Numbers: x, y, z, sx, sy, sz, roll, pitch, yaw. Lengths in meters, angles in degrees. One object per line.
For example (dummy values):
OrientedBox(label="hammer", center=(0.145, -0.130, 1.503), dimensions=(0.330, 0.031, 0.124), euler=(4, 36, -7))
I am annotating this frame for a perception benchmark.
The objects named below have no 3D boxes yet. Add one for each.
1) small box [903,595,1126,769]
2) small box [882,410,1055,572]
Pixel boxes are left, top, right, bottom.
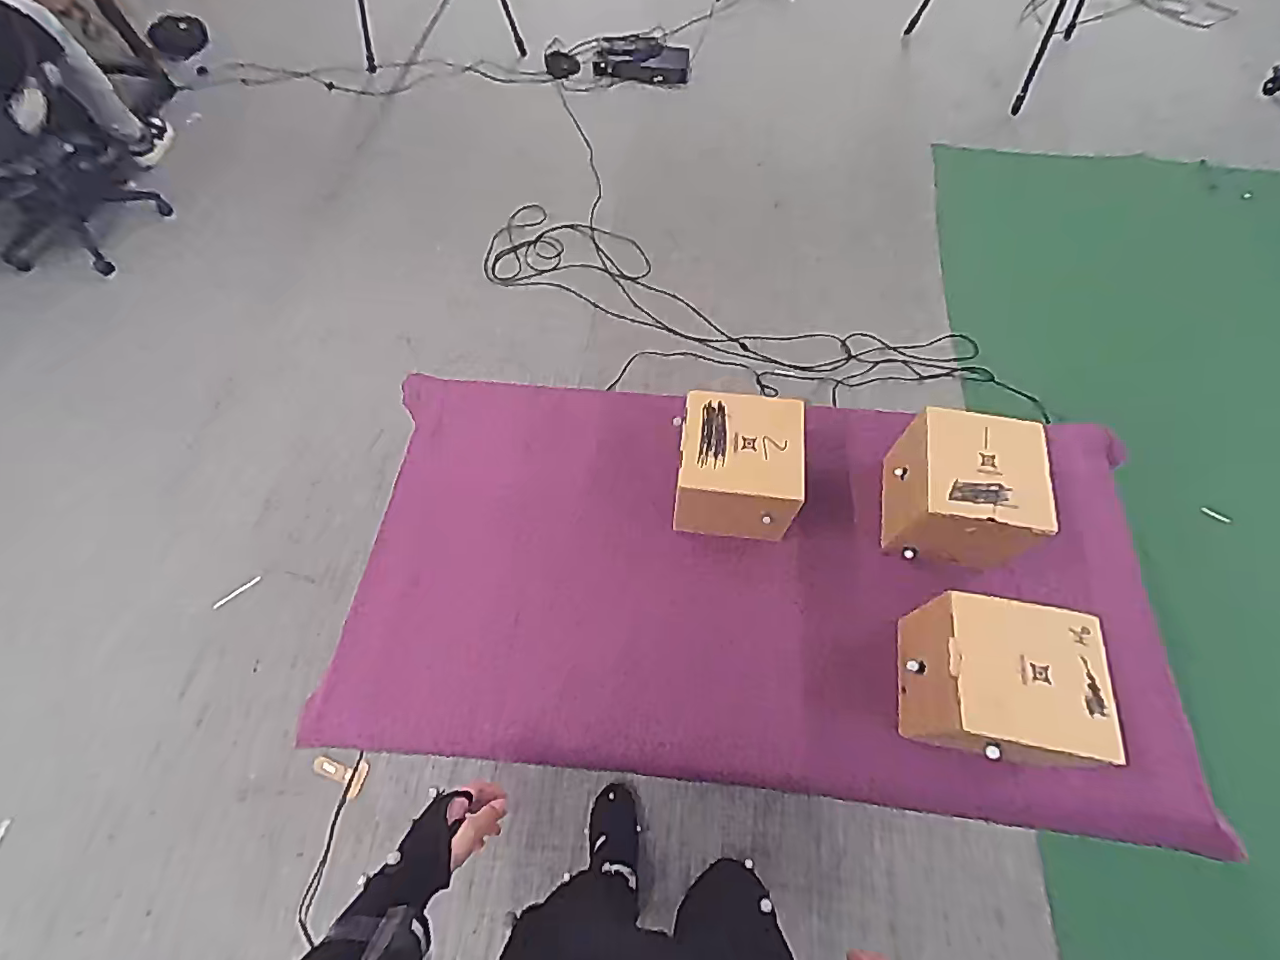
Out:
OrientedBox(label="small box", center=(0.453, 0.264, 0.692), dimensions=(0.179, 0.176, 0.168), euler=(10, 62, 7))
OrientedBox(label="small box", center=(0.480, 0.024, 0.816), dimensions=(0.168, 0.176, 0.179), euler=(11, 63, 7))
